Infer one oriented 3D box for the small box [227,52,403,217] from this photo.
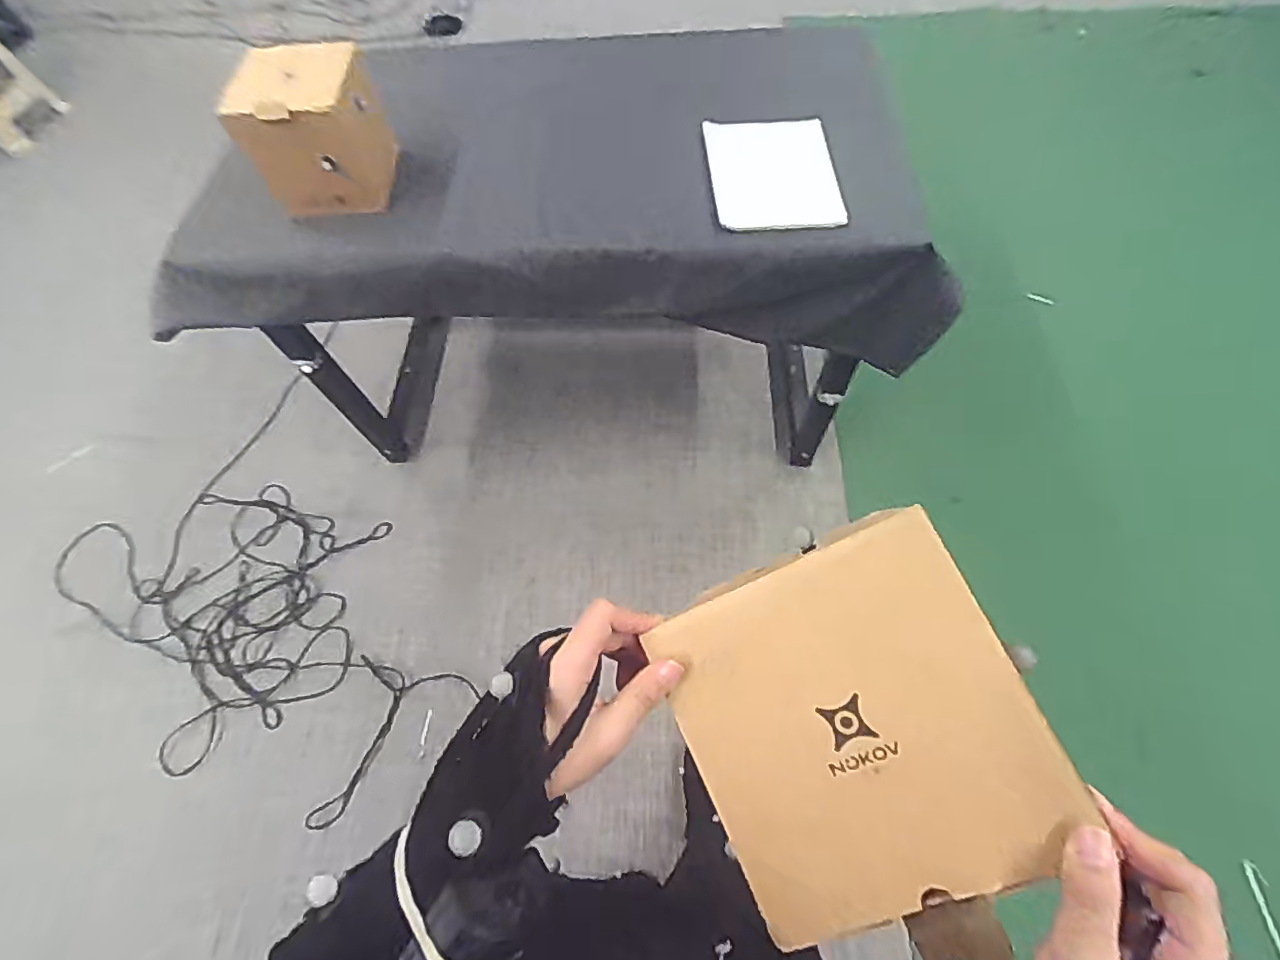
[{"bbox_3d":[-0.504,-0.546,0.871,0.168,0.176,0.179,-3,61,0],"label":"small box"}]
